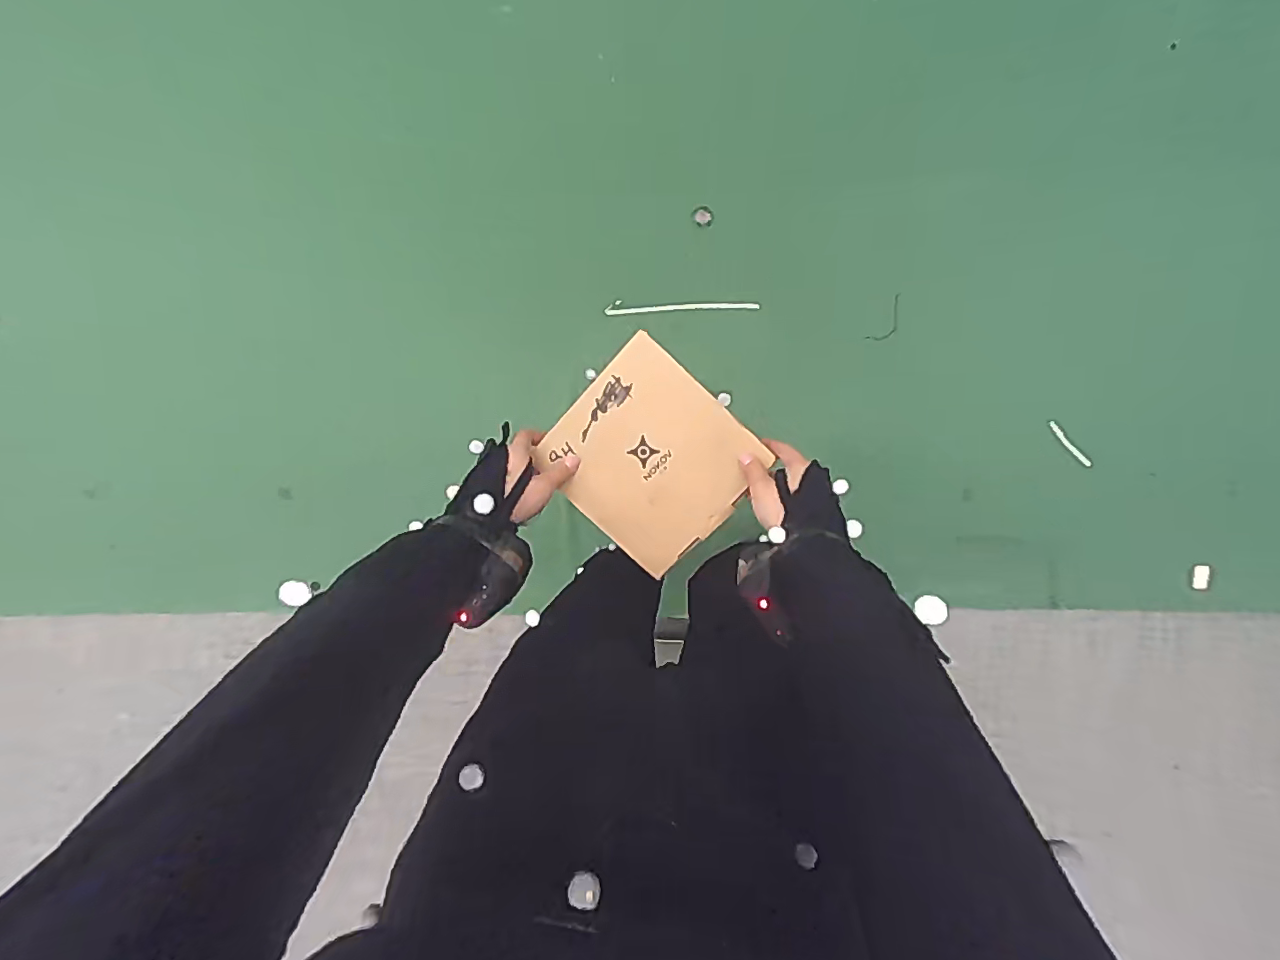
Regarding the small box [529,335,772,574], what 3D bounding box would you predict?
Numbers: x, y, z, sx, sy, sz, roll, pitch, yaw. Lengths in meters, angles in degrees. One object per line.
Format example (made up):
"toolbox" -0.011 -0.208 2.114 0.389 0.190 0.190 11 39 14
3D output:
"small box" 0.015 -0.034 0.591 0.179 0.176 0.168 43 100 -4
